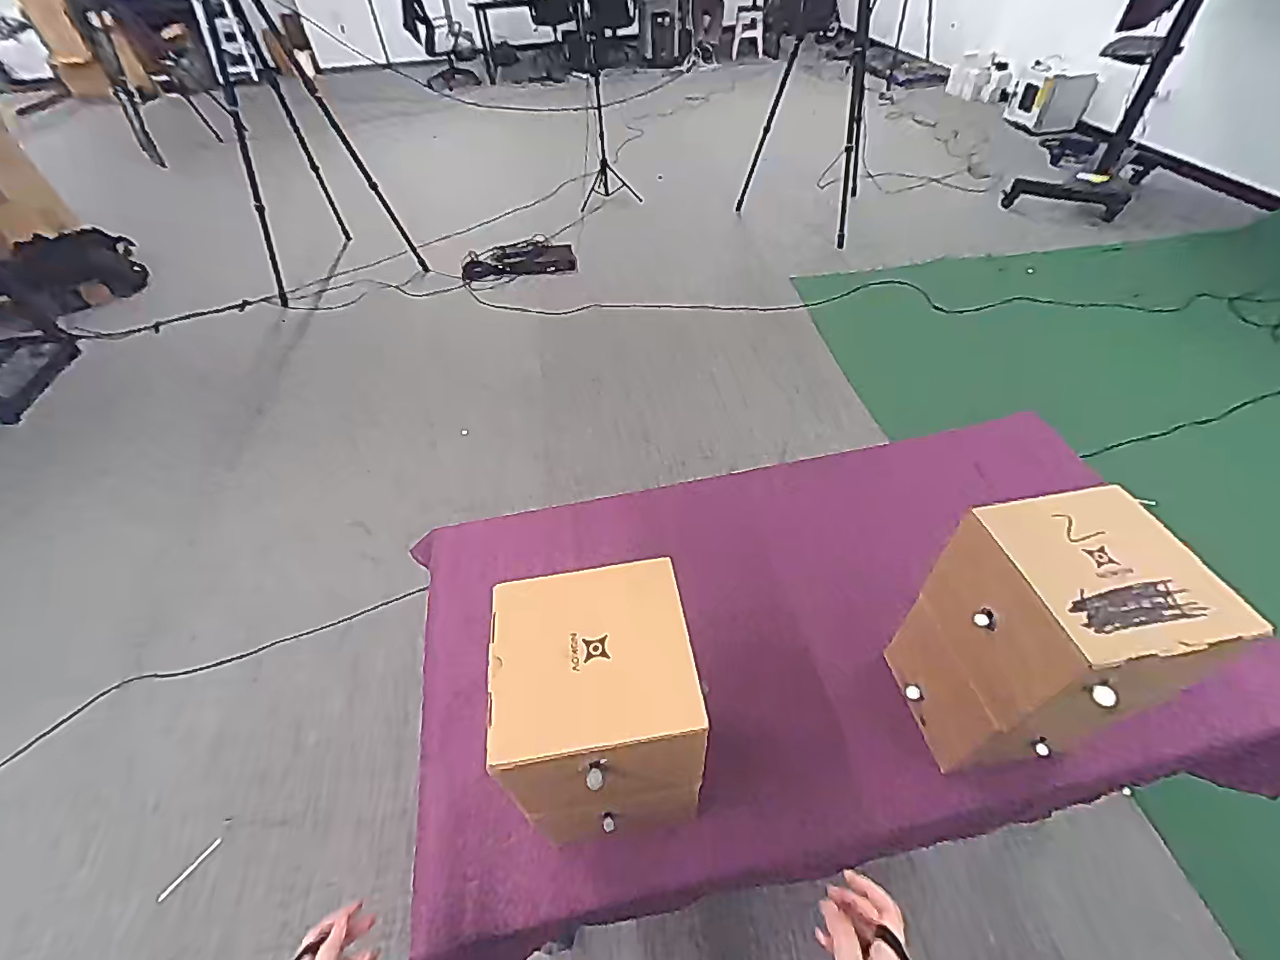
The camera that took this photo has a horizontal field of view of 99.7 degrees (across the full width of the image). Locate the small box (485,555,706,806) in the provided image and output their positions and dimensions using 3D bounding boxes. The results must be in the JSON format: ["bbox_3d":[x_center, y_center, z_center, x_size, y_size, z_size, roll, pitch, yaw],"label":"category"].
[{"bbox_3d":[-0.040,0.199,0.531,0.179,0.176,0.168,-9,47,-3],"label":"small box"}]

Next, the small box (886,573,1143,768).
[{"bbox_3d":[0.445,0.241,0.680,0.179,0.176,0.168,-9,47,-3],"label":"small box"}]

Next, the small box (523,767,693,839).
[{"bbox_3d":[-0.036,0.311,0.650,0.179,0.176,0.168,-8,48,-4],"label":"small box"}]
